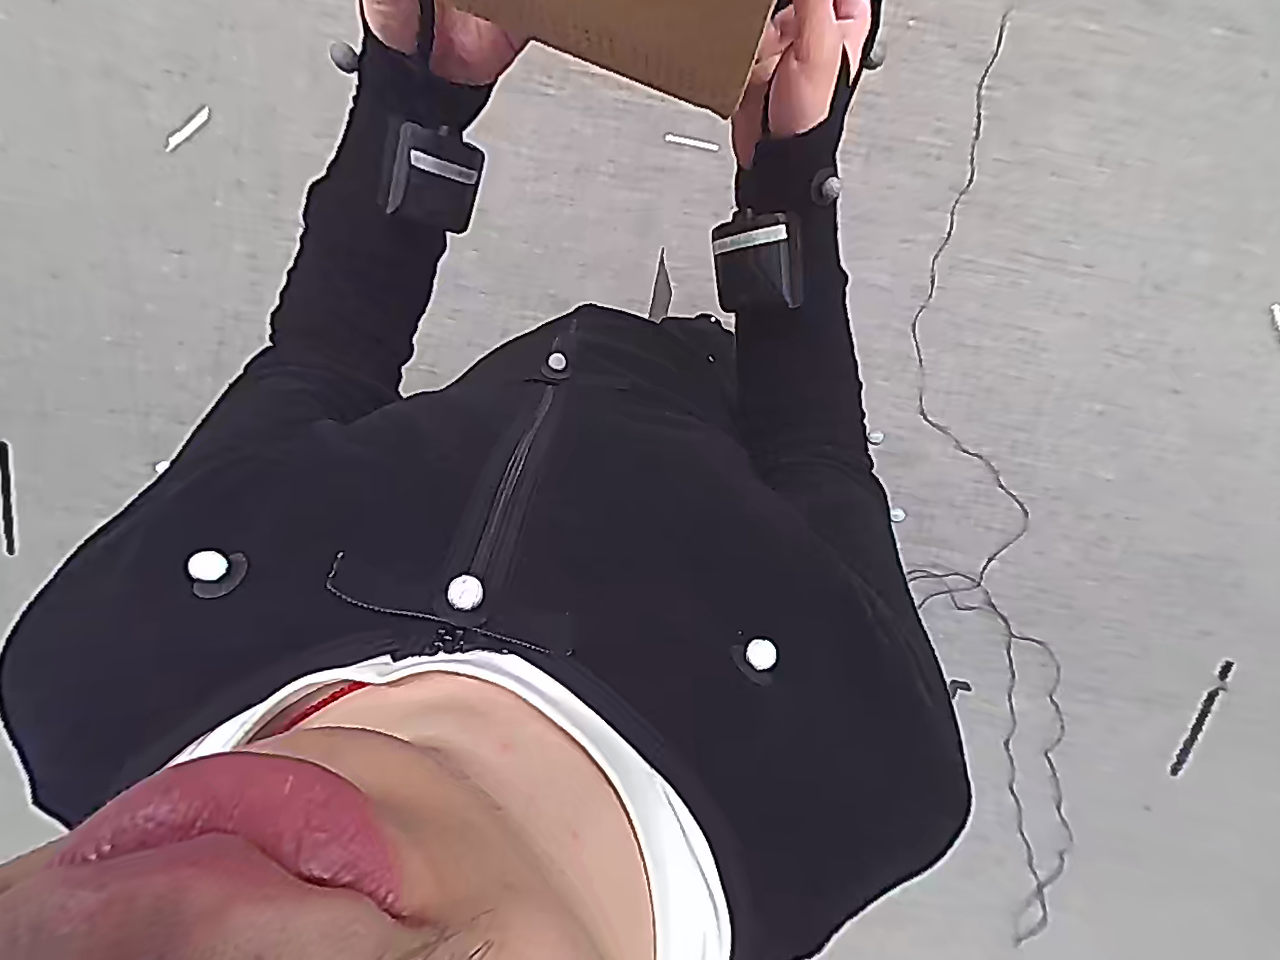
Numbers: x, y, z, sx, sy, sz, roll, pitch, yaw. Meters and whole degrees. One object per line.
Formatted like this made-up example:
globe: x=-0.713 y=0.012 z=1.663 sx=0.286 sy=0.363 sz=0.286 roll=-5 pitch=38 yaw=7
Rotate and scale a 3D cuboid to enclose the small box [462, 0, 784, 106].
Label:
small box: x=0.002 y=-0.295 z=0.217 sx=0.179 sy=0.176 sz=0.168 roll=19 pitch=101 yaw=-5
